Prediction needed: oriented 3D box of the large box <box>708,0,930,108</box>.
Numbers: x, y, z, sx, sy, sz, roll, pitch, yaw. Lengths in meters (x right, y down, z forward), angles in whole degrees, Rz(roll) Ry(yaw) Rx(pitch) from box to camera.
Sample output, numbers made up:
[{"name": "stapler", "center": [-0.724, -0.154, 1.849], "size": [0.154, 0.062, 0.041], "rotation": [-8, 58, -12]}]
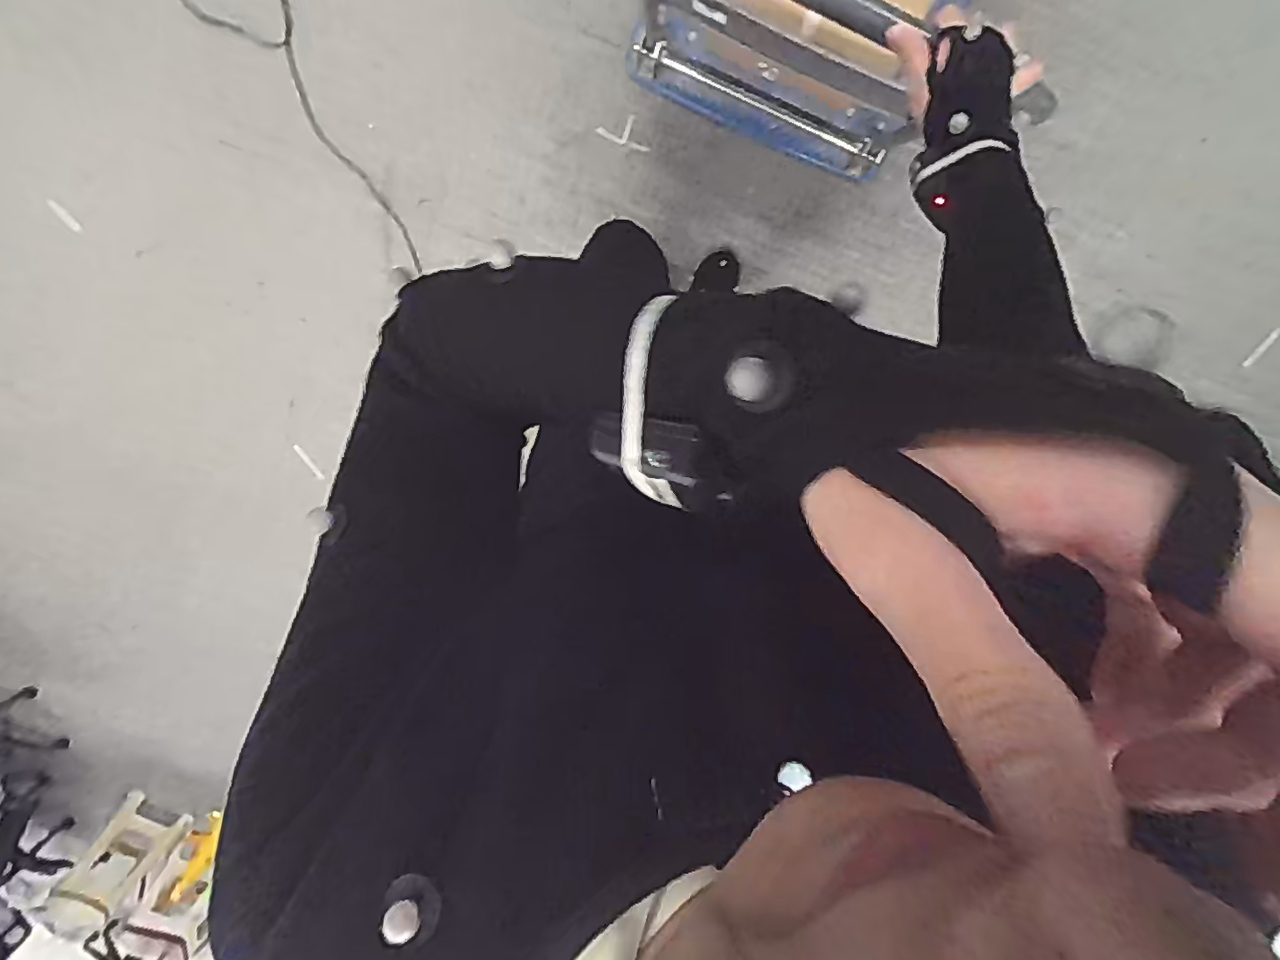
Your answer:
[{"name": "large box", "center": [0.324, -0.897, 0.861], "size": [0.320, 0.320, 0.408], "rotation": [20, 116, -6]}]
